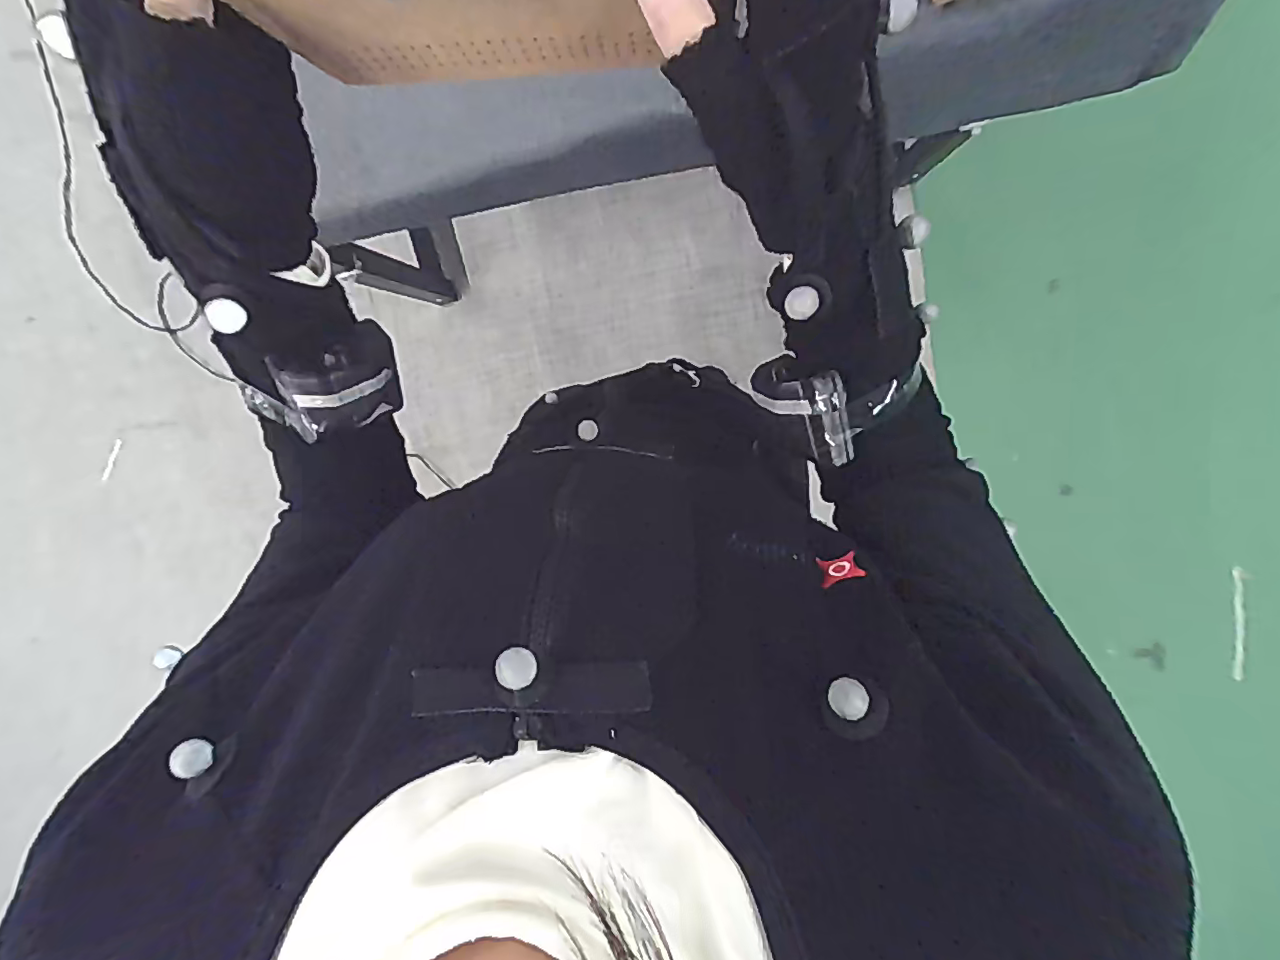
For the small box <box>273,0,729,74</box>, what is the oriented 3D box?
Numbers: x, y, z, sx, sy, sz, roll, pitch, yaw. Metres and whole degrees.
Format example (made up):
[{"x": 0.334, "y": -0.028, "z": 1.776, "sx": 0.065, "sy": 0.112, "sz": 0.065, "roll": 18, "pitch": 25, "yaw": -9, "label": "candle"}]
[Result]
[{"x": -0.059, "y": -0.242, "z": 0.147, "sx": 0.179, "sy": 0.176, "sz": 0.168, "roll": 0, "pitch": 107, "yaw": 5, "label": "small box"}]
